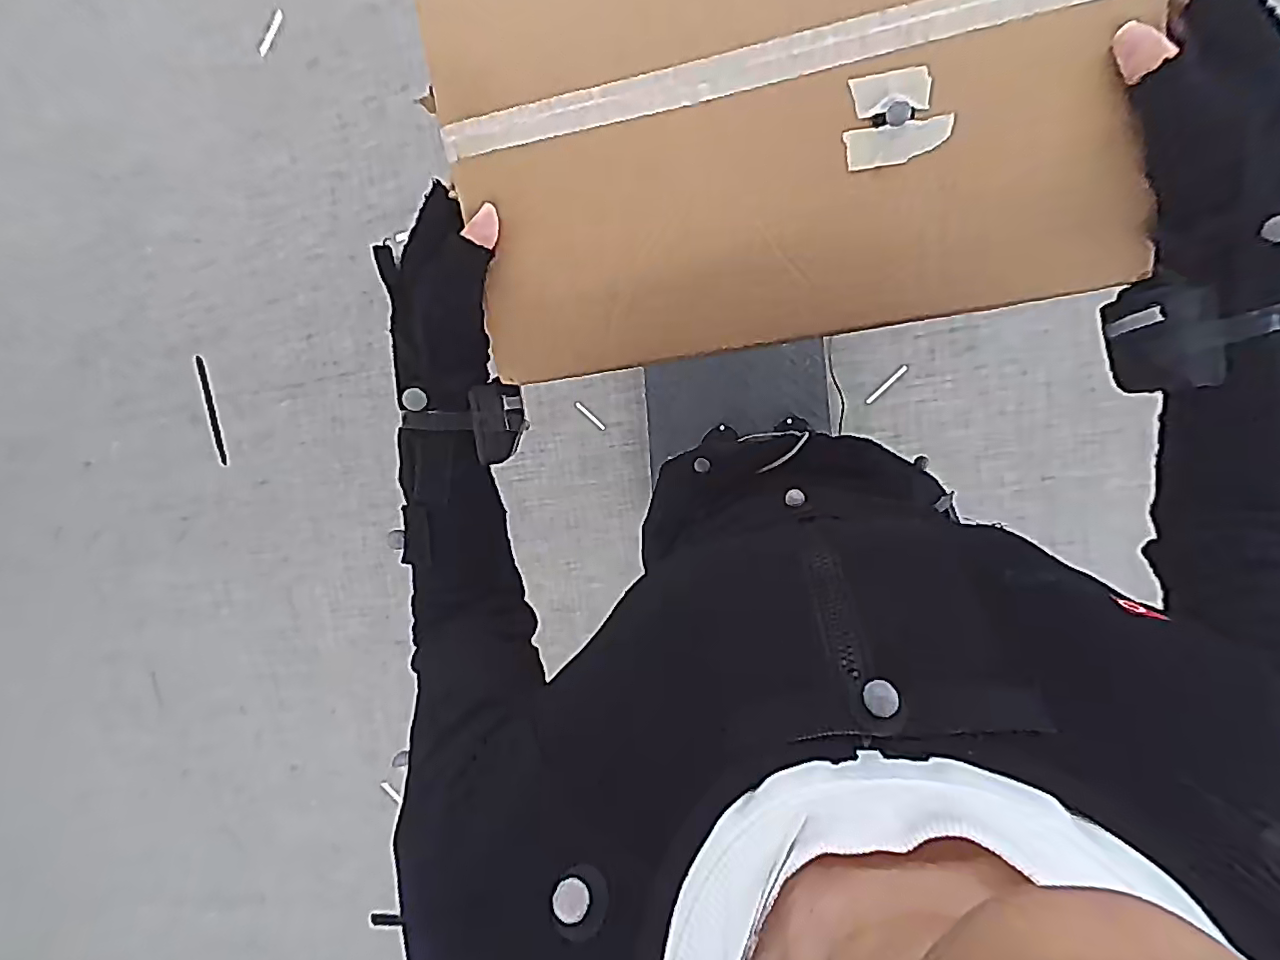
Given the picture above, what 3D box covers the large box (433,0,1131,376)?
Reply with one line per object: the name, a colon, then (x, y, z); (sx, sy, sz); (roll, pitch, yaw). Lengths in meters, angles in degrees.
large box: (0.093, -0.284, 0.474); (0.408, 0.320, 0.320); (-8, 103, 9)
